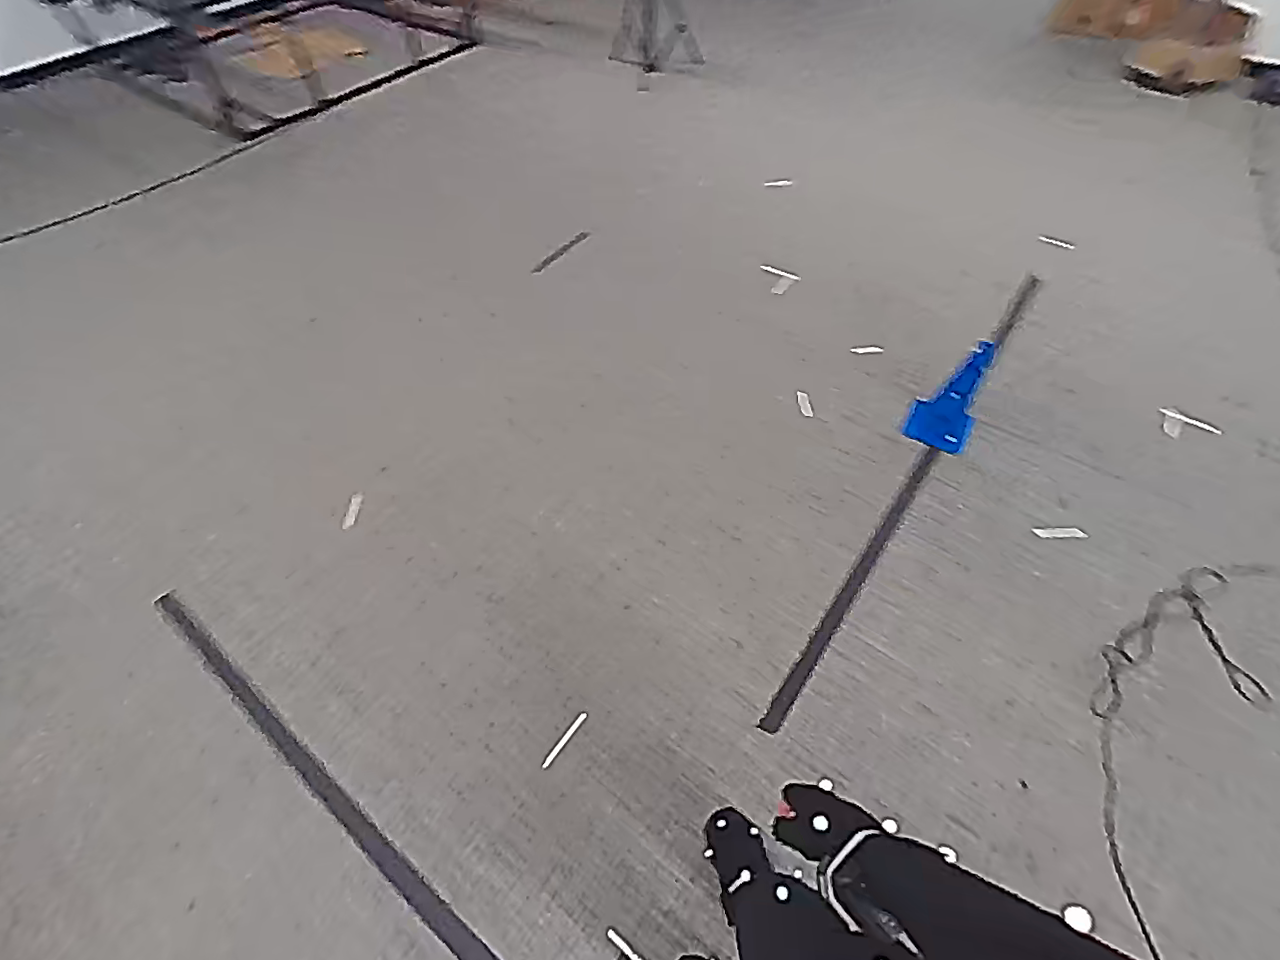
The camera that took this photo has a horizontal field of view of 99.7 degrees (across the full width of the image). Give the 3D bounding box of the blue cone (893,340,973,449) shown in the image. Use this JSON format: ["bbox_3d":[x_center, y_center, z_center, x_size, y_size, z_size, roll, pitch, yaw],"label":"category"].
[{"bbox_3d":[0.990,-0.291,1.753,0.192,0.380,0.193,27,59,21],"label":"blue cone"}]
